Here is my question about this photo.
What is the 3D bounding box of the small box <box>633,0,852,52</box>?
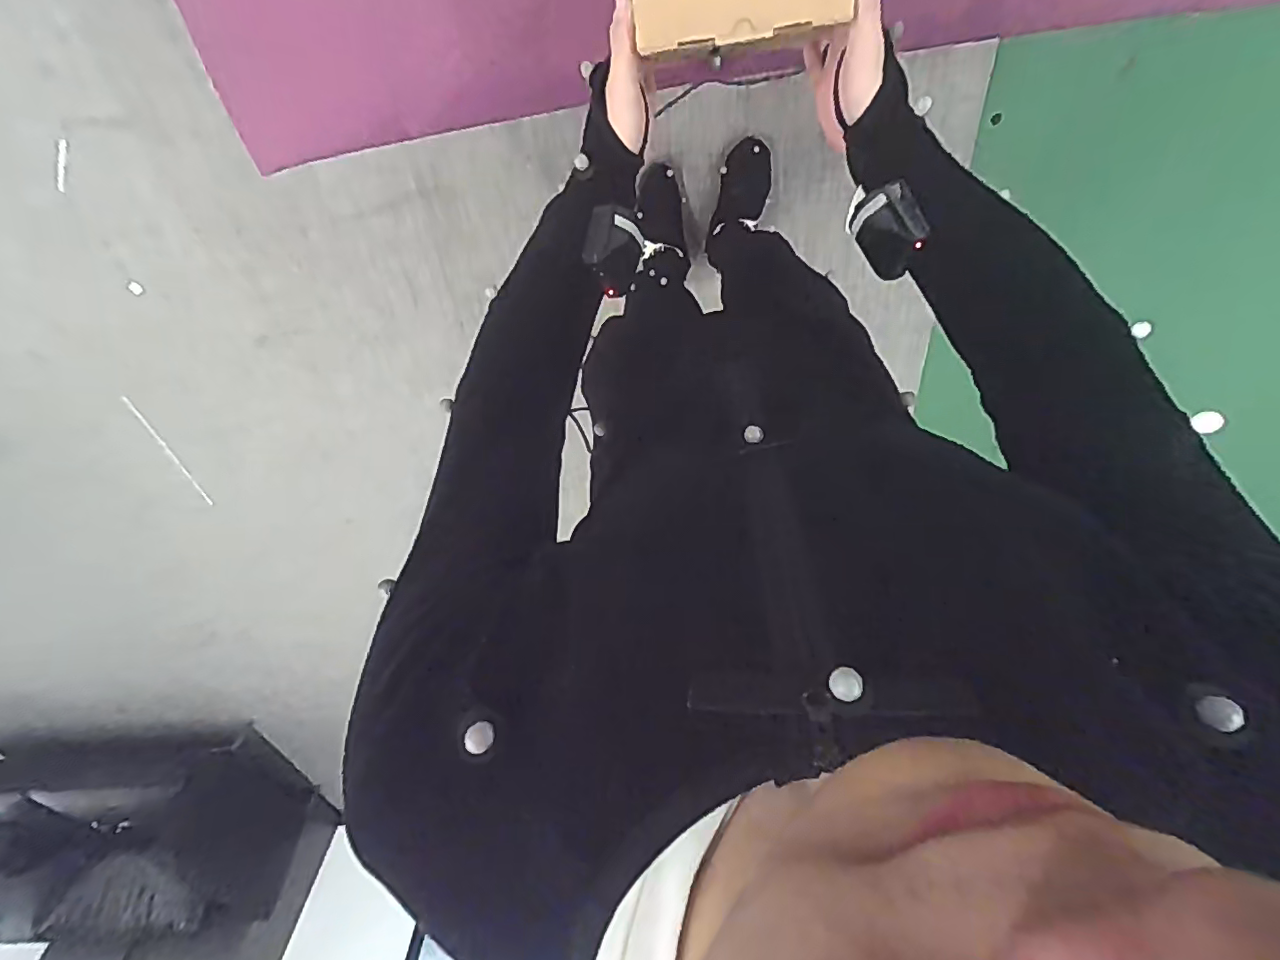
[{"bbox_3d":[0.070,-0.464,0.428,0.168,0.176,0.179,-5,126,5],"label":"small box"}]
